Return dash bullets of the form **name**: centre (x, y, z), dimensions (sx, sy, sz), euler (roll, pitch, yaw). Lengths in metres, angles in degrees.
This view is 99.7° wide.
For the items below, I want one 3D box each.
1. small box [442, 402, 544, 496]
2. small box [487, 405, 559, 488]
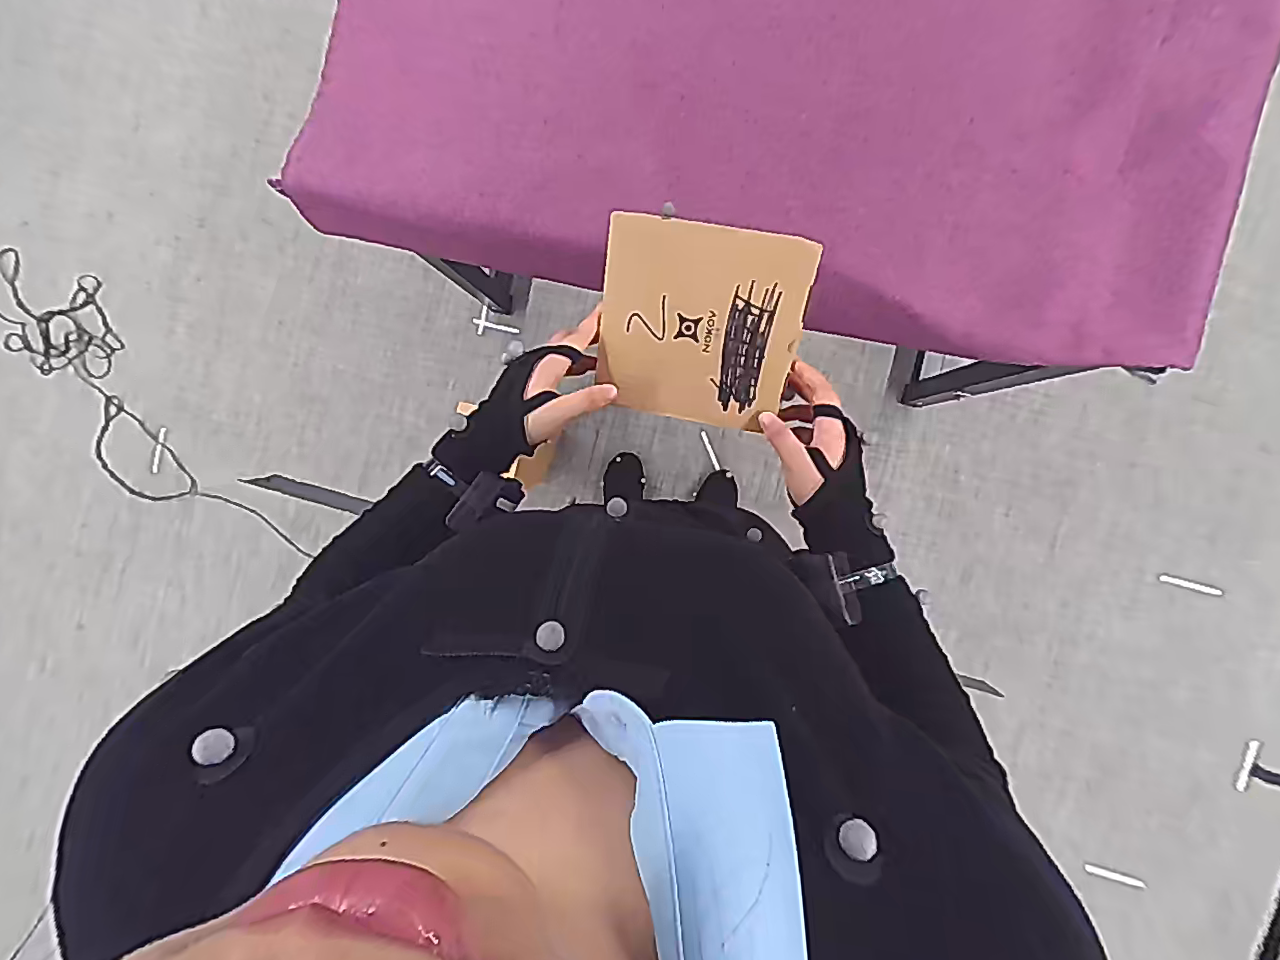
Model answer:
- **small box**: centre (-0.336, -0.071, 1.274), dimensions (0.168, 0.176, 0.179), euler (15, 94, 4)
- **small box**: centre (-0.330, -0.083, 1.438), dimensions (0.168, 0.176, 0.179), euler (21, 94, 3)
